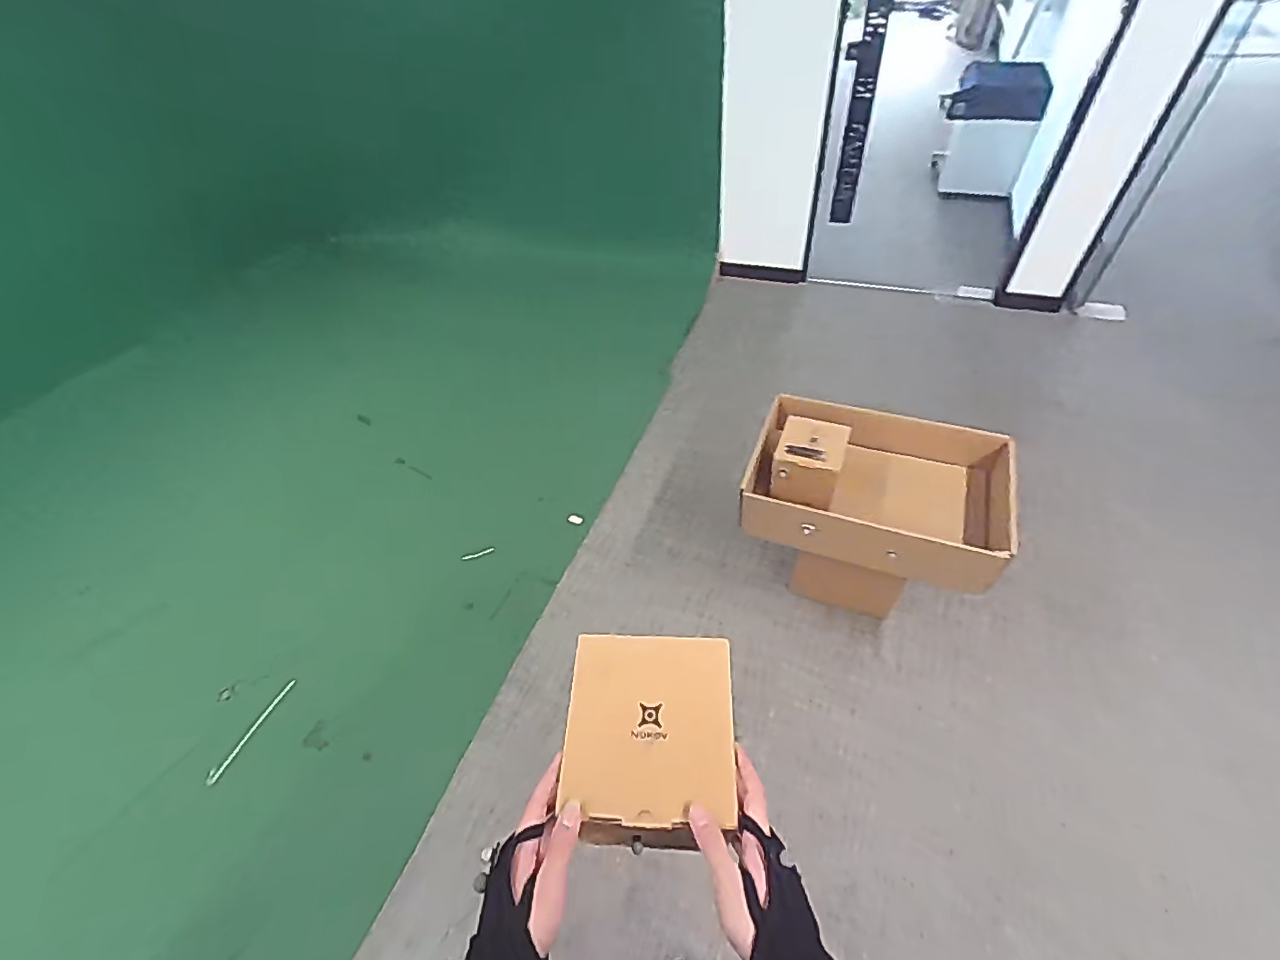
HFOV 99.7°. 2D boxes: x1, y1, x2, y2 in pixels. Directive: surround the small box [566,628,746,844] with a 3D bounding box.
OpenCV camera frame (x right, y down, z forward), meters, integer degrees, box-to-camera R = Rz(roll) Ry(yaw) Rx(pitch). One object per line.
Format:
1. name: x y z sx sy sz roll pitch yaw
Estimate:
1. small box: 0.020 0.282 0.595 0.168 0.176 0.179 2 52 4
